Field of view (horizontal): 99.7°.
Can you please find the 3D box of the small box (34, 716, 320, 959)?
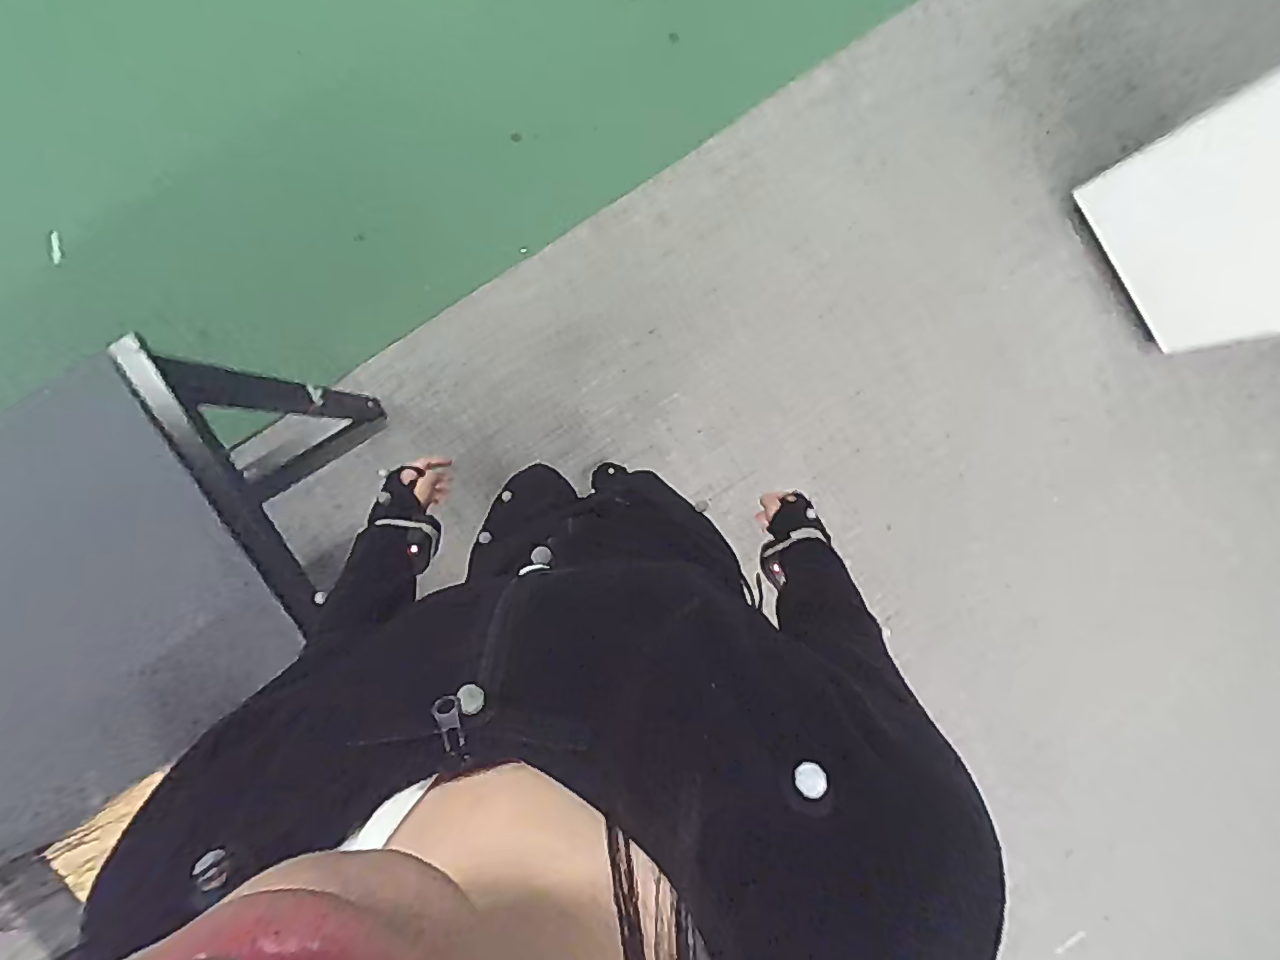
[{"bbox_3d":[-0.556,0.441,0.678,0.179,0.176,0.168,-35,93,1],"label":"small box"}]
